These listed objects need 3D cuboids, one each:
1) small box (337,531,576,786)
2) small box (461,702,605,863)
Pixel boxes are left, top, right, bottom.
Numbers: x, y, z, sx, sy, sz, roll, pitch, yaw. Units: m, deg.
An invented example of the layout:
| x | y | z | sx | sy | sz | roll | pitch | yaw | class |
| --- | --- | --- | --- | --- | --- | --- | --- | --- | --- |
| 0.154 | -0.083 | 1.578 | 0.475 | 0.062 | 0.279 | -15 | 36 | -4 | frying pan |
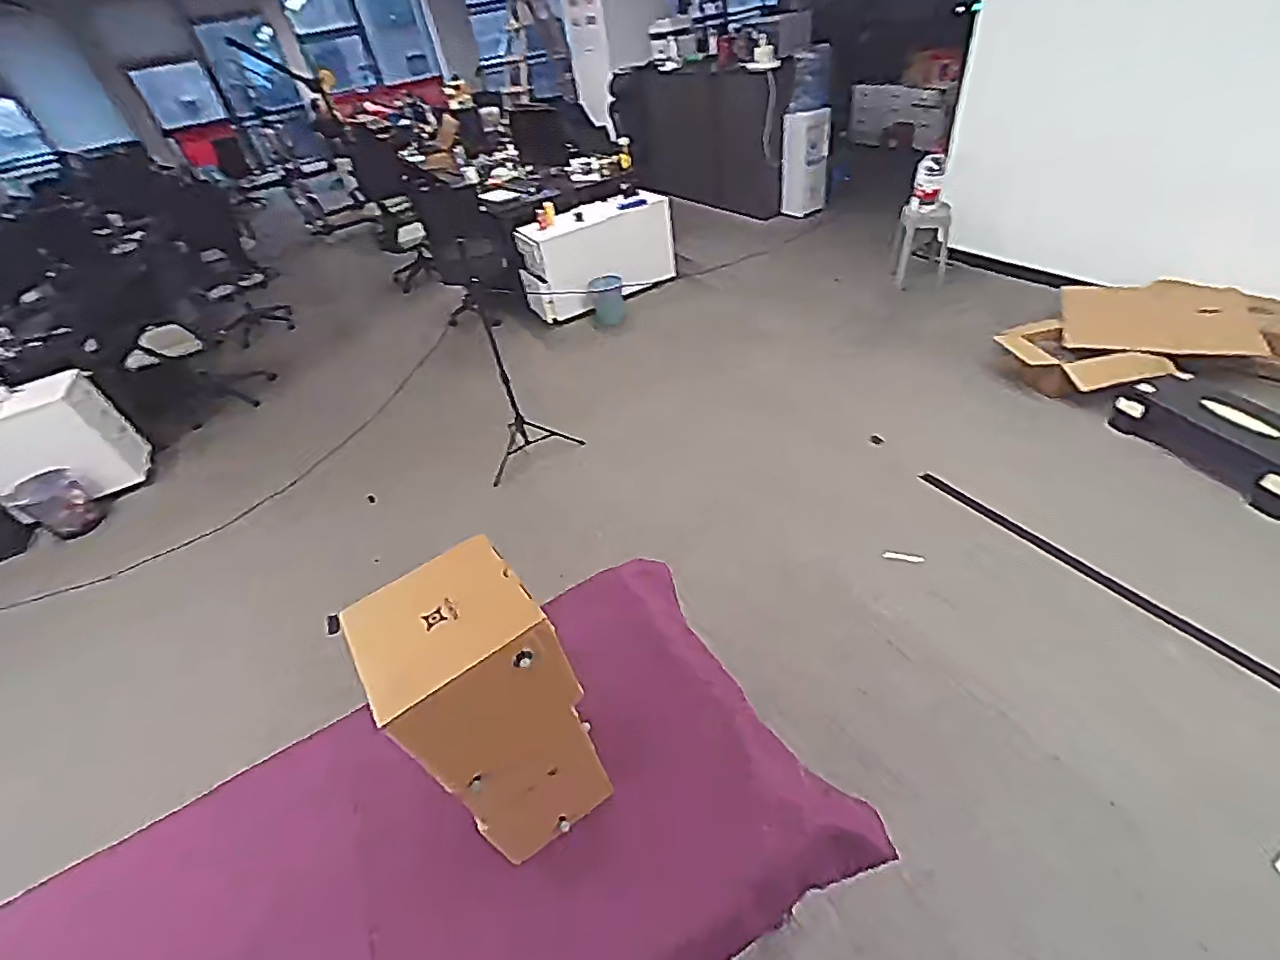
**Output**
| x | y | z | sx | sy | sz | roll | pitch | yaw | class |
| --- | --- | --- | --- | --- | --- | --- | --- | --- | --- |
| -0.196 | 0.198 | 0.606 | 0.179 | 0.176 | 0.168 | -31 | 44 | -22 | small box |
| -0.167 | 0.436 | 0.829 | 0.179 | 0.176 | 0.168 | -29 | 43 | -20 | small box |
